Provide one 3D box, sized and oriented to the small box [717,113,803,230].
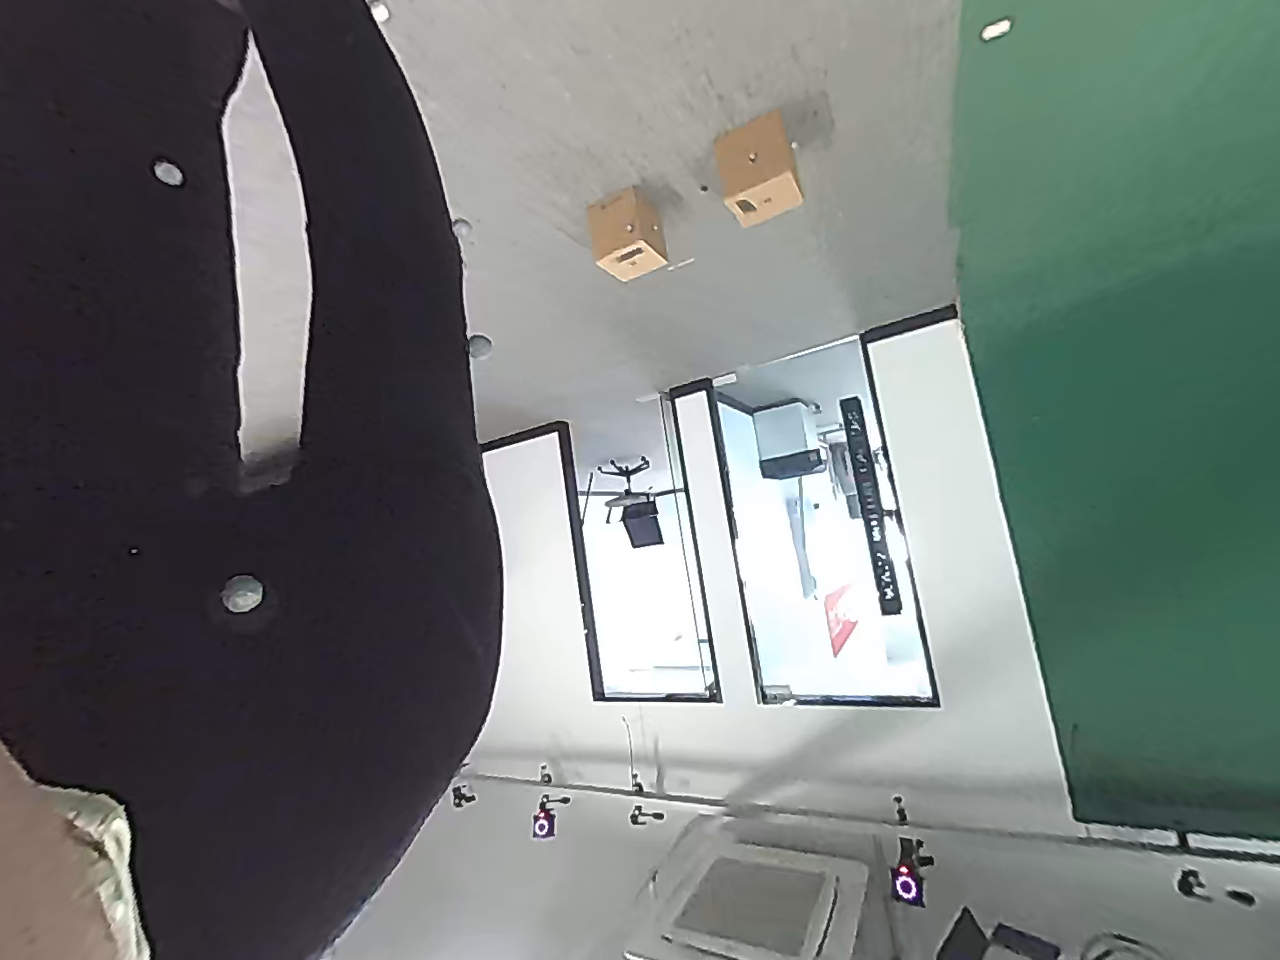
[{"bbox_3d":[0.310,-0.796,1.406,0.179,0.176,0.168,-13,173,27],"label":"small box"}]
